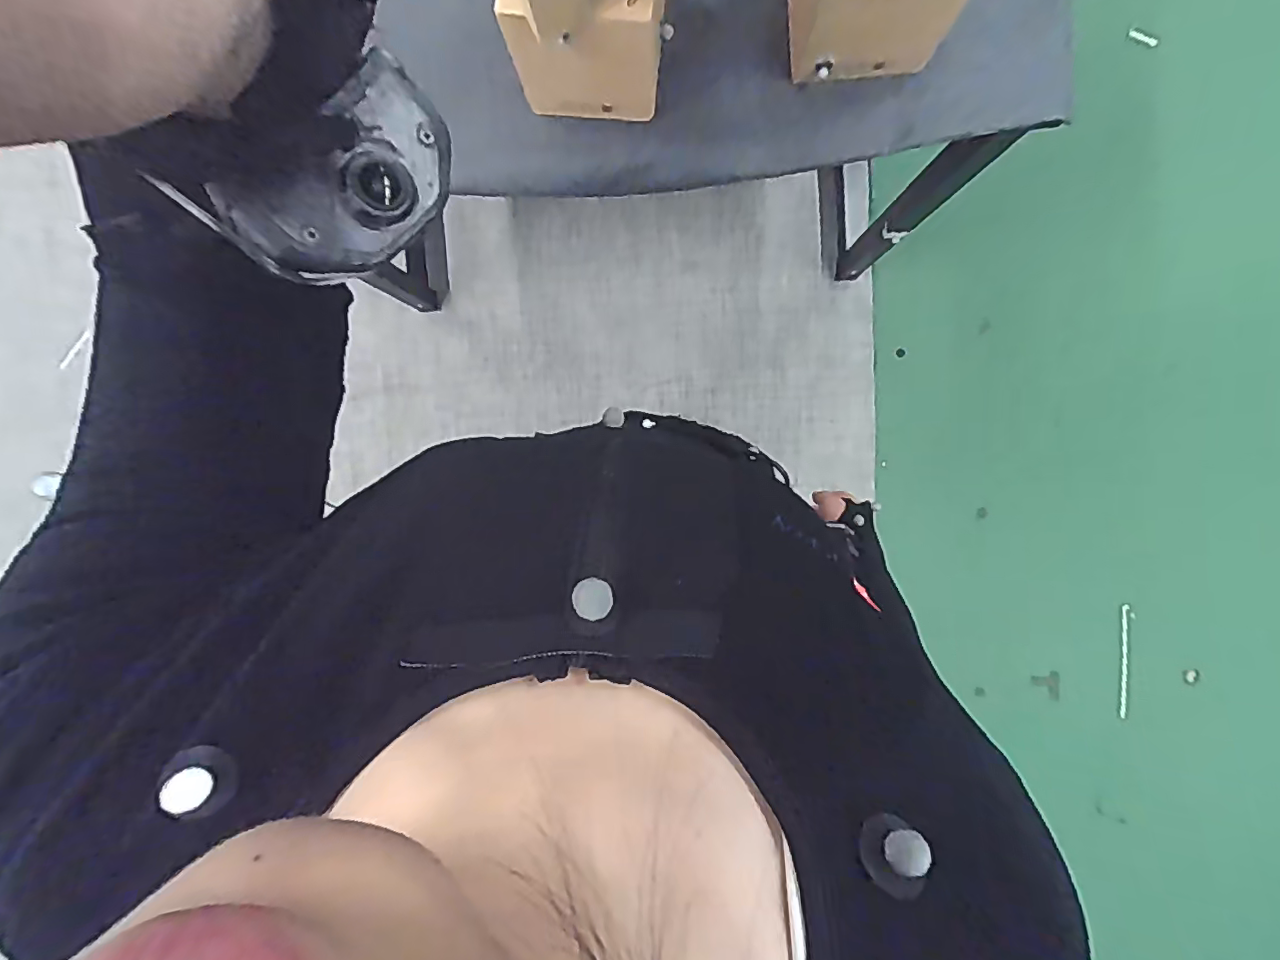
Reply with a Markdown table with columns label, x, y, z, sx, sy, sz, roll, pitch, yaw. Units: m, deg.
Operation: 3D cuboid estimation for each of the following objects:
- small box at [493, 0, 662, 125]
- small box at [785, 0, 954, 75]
| label | x | y | z | sx | sy | sz | roll | pitch | yaw |
| --- | --- | --- | --- | --- | --- | --- | --- | --- | --- |
| small box | -0.061 | -0.561 | 0.632 | 0.168 | 0.176 | 0.179 | 5 | 92 | 2 |
| small box | 0.266 | -0.601 | 0.615 | 0.168 | 0.176 | 0.179 | -3 | 91 | 3 |
